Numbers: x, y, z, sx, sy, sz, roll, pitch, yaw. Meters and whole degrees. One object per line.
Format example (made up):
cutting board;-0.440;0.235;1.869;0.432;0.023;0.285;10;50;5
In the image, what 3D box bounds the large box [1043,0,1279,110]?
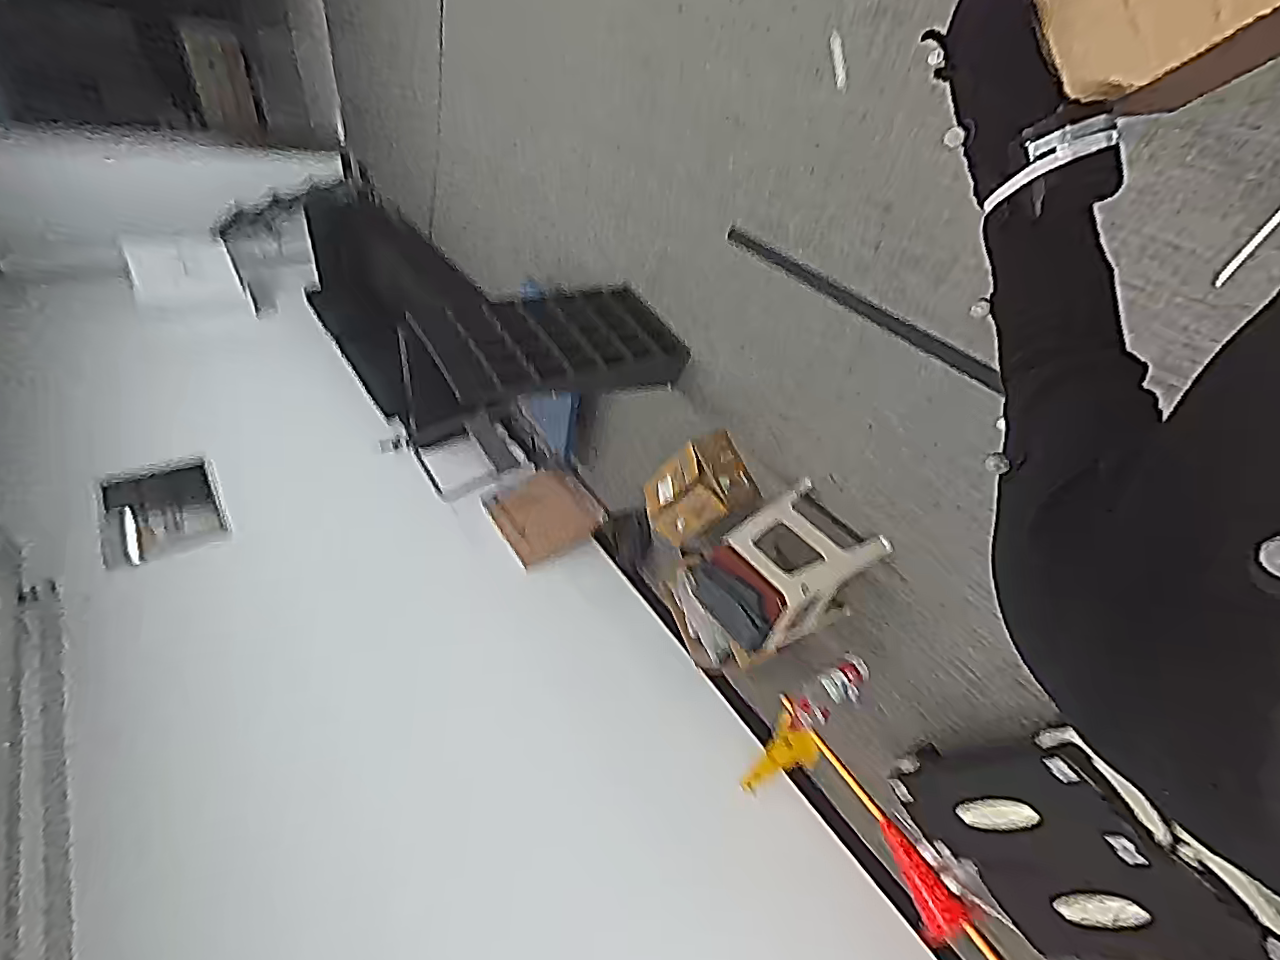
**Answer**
large box;0.480;-0.494;0.302;0.408;0.320;0.320;-15;101;57
